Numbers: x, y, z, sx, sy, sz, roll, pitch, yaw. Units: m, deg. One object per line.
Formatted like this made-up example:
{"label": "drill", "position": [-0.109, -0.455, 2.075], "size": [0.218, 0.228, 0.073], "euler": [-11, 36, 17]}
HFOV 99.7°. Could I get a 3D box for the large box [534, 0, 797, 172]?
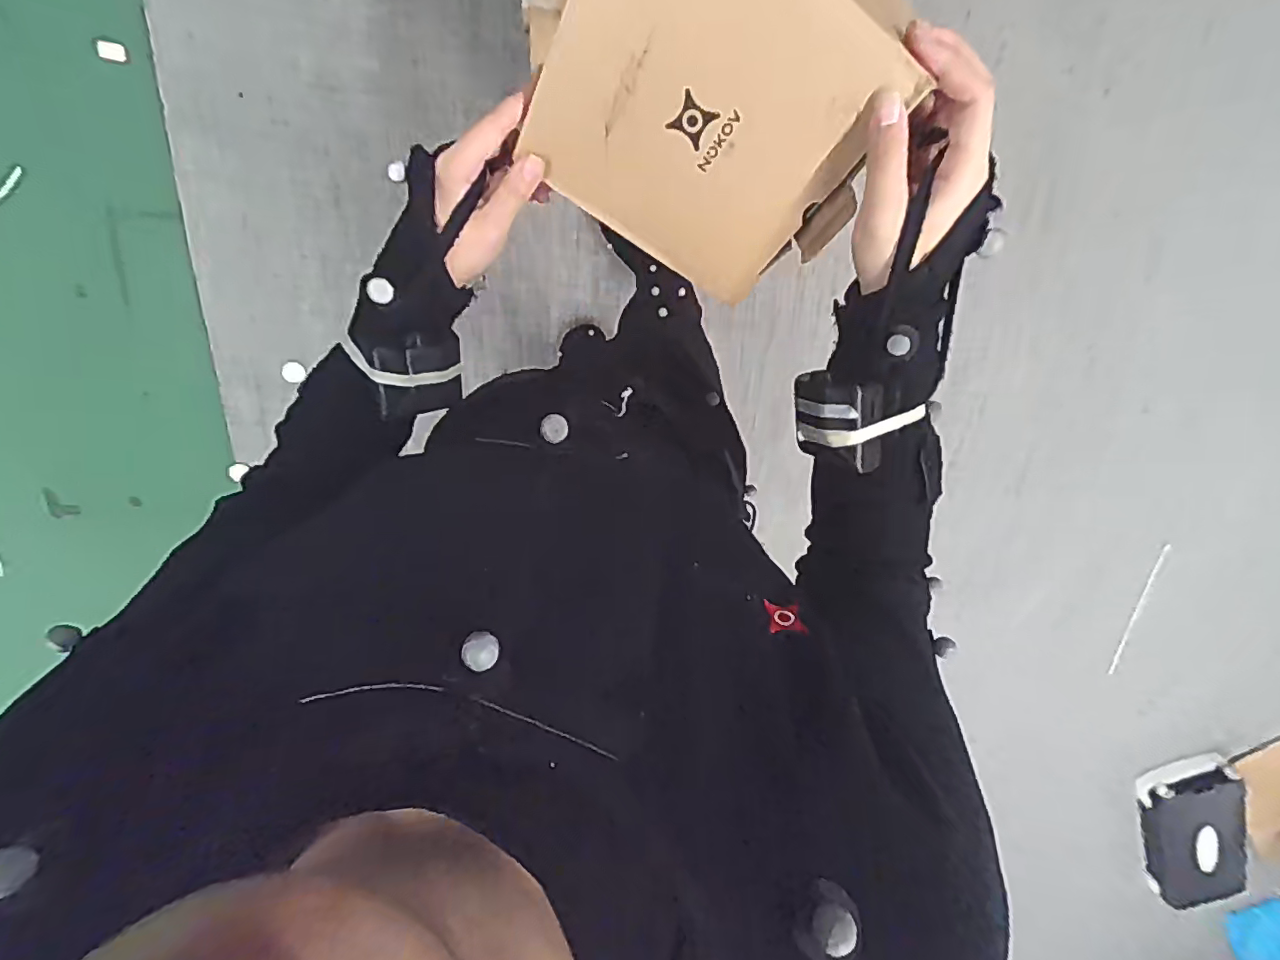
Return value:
{"label": "large box", "position": [0.029, -0.750, 0.954], "size": [0.408, 0.320, 0.320], "euler": [1, 112, -5]}
